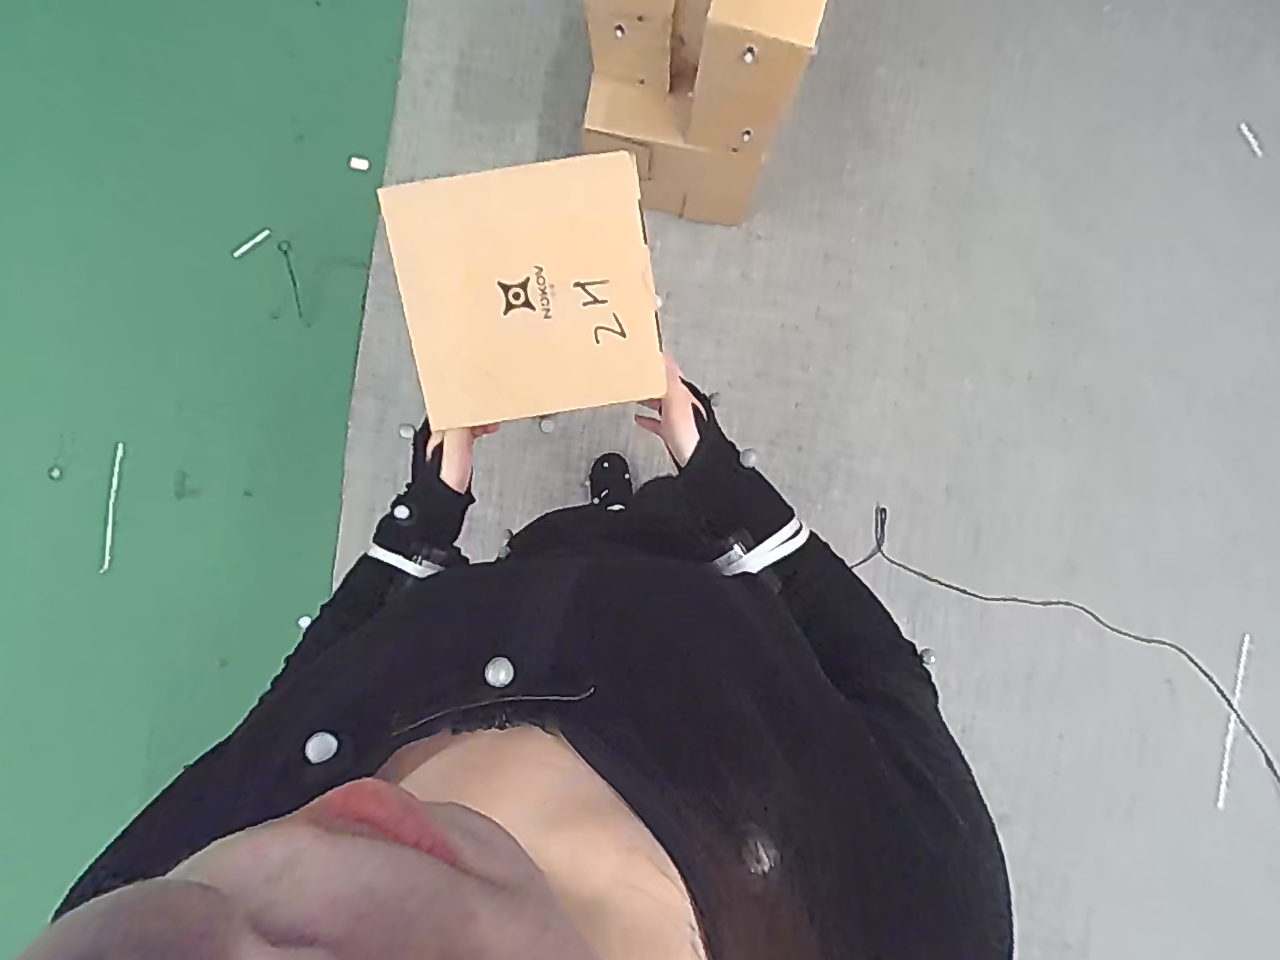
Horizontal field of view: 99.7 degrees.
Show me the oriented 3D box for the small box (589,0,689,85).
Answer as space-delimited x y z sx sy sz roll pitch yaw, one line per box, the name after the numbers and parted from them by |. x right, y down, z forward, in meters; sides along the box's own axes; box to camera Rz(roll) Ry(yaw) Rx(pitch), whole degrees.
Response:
0.004 -0.941 1.070 0.168 0.176 0.179 15 90 2 | small box

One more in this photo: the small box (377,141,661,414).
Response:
-0.081 -0.149 0.449 0.179 0.176 0.168 -8 102 -1 | small box

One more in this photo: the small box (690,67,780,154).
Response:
0.201 -0.790 1.069 0.168 0.176 0.179 15 91 -1 | small box

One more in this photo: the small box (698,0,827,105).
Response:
0.208 -0.776 0.907 0.179 0.176 0.168 16 92 0 | small box
